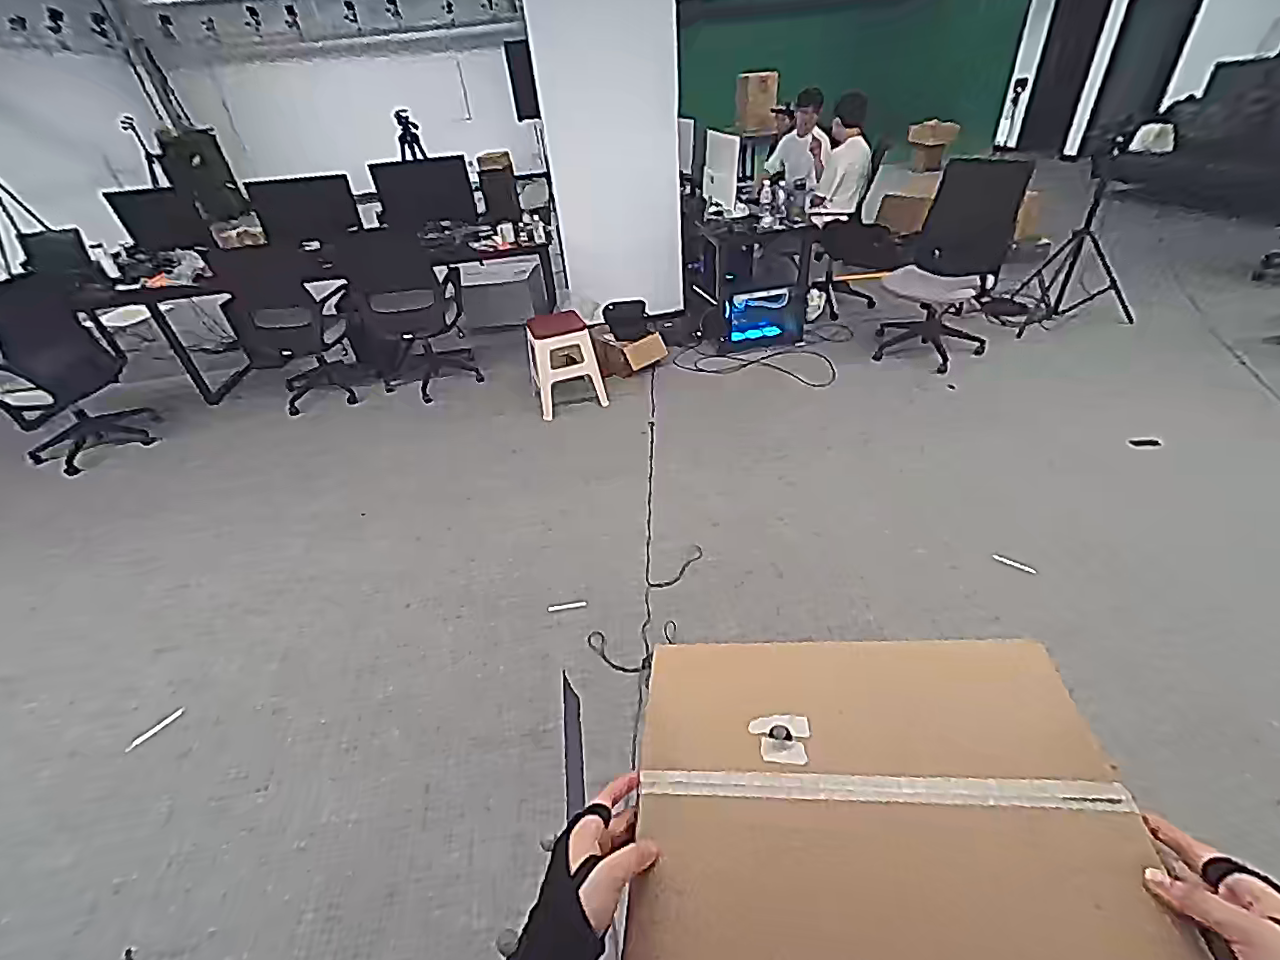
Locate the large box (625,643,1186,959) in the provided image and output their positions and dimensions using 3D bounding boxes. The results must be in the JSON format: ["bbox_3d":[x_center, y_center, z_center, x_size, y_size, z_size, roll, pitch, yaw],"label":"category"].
[{"bbox_3d":[0.224,0.403,0.579,0.408,0.320,0.320,-6,36,12],"label":"large box"}]
